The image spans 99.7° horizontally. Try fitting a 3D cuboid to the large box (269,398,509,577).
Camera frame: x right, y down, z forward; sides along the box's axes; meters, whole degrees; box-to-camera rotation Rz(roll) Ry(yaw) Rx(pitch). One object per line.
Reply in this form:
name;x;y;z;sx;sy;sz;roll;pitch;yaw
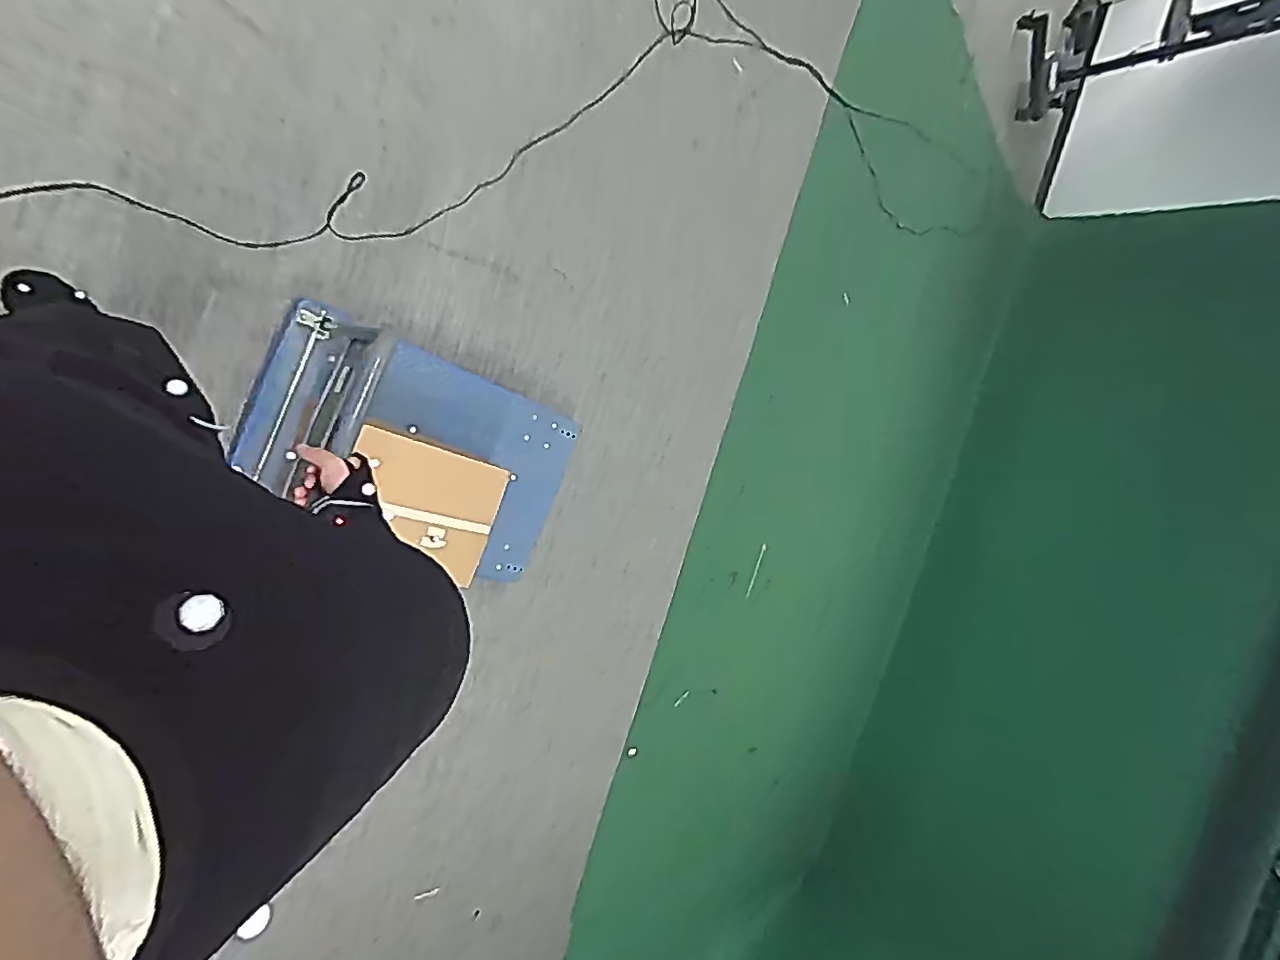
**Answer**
large box;-0.611;0.021;1.326;0.408;0.320;0.320;21;90;-45
